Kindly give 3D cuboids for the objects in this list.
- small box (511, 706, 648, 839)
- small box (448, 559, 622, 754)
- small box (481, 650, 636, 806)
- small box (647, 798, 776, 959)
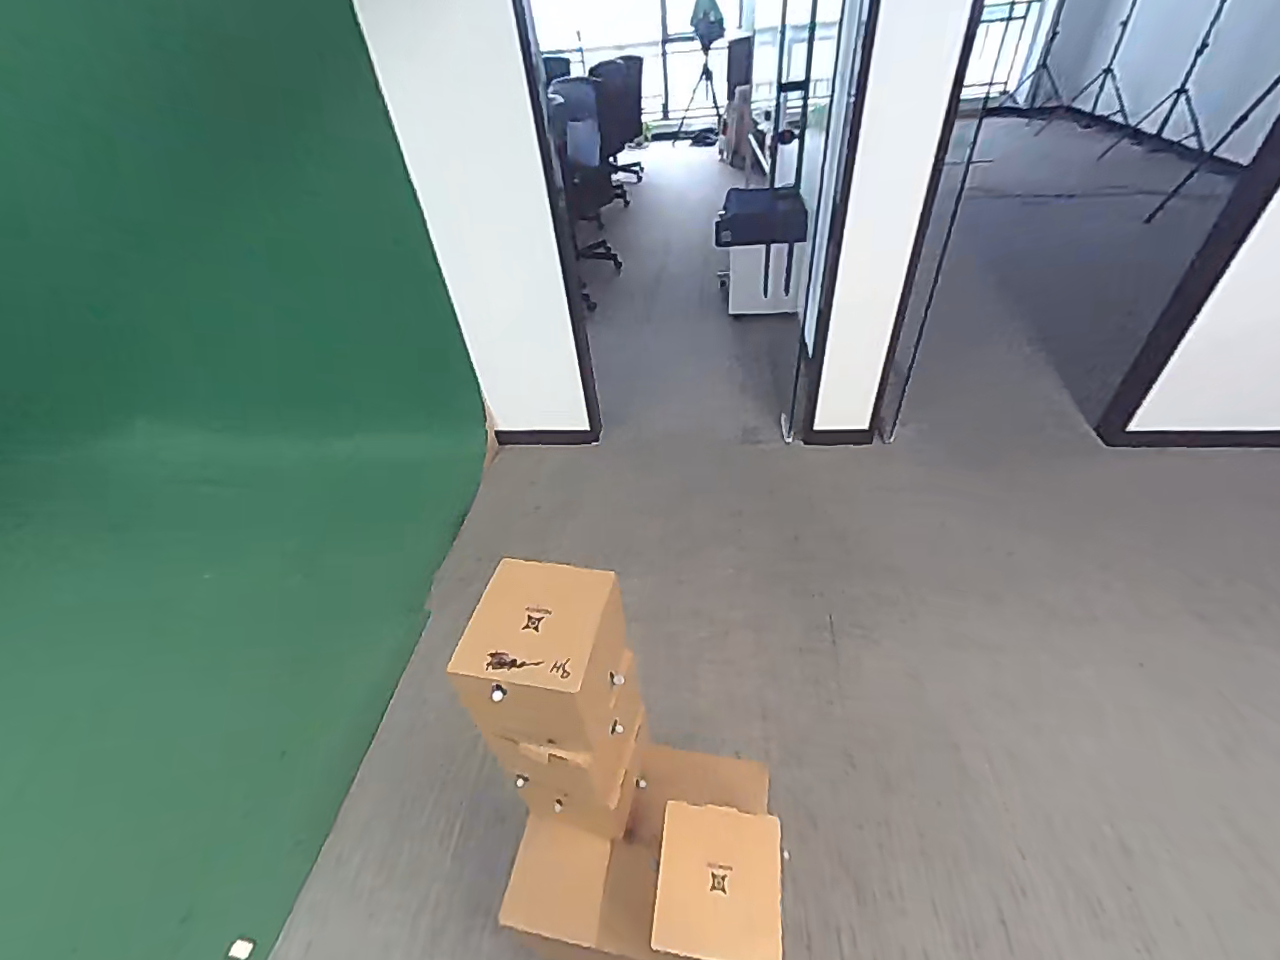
[{"bbox_3d":[-0.093,0.488,0.937,0.179,0.176,0.168,9,44,15],"label":"small box"},{"bbox_3d":[-0.125,0.234,0.729,0.168,0.176,0.179,5,41,13],"label":"small box"},{"bbox_3d":[-0.110,0.363,0.831,0.168,0.176,0.179,10,42,17],"label":"small box"},{"bbox_3d":[0.109,0.598,0.787,0.168,0.176,0.179,3,42,10],"label":"small box"}]
